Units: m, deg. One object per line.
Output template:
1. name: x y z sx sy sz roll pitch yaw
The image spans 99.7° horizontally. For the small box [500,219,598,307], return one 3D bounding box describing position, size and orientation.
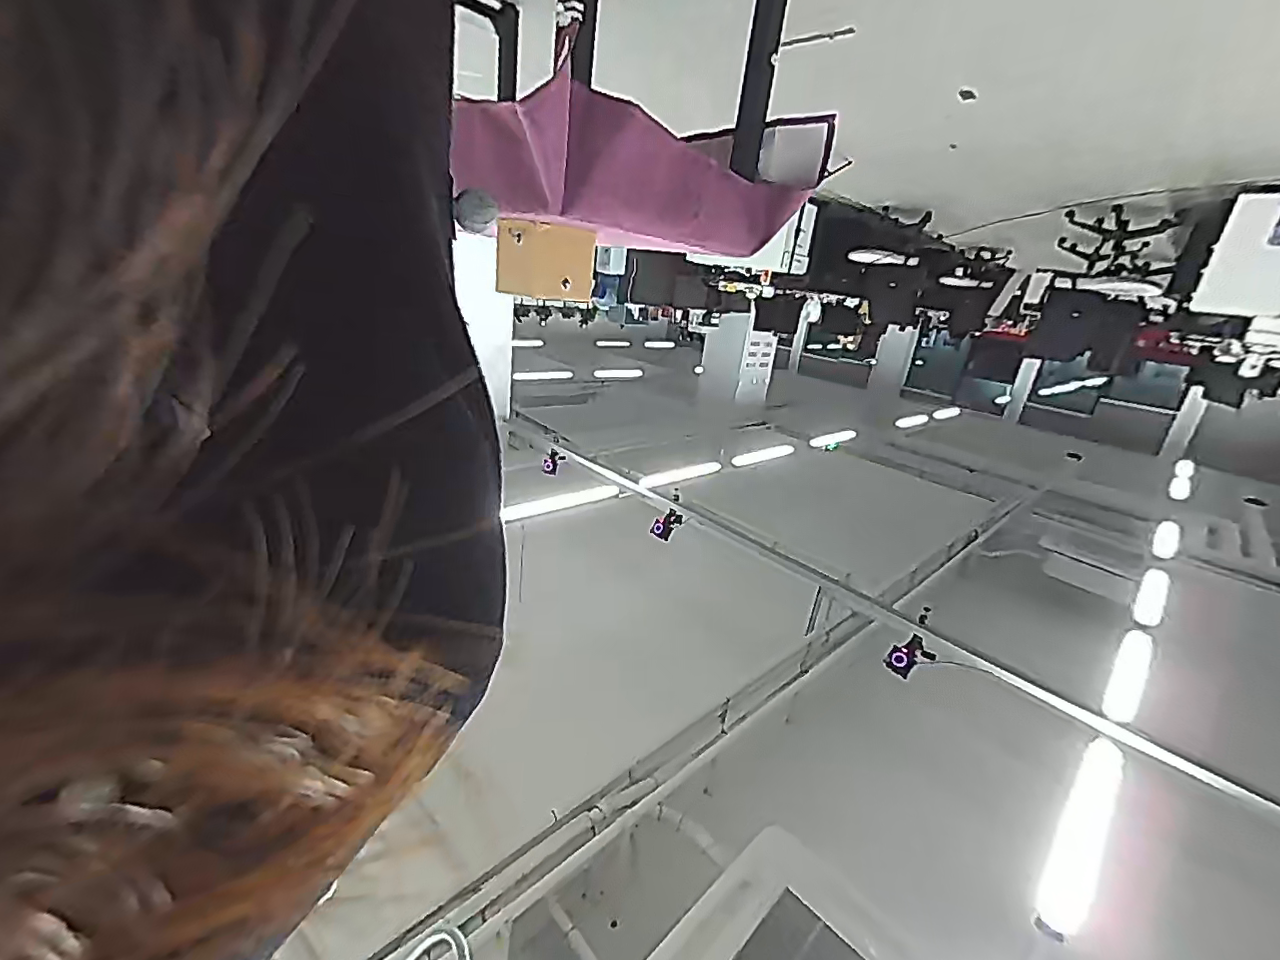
1. small box: -0.217 -0.518 1.298 0.179 0.176 0.168 -13 -152 -43
